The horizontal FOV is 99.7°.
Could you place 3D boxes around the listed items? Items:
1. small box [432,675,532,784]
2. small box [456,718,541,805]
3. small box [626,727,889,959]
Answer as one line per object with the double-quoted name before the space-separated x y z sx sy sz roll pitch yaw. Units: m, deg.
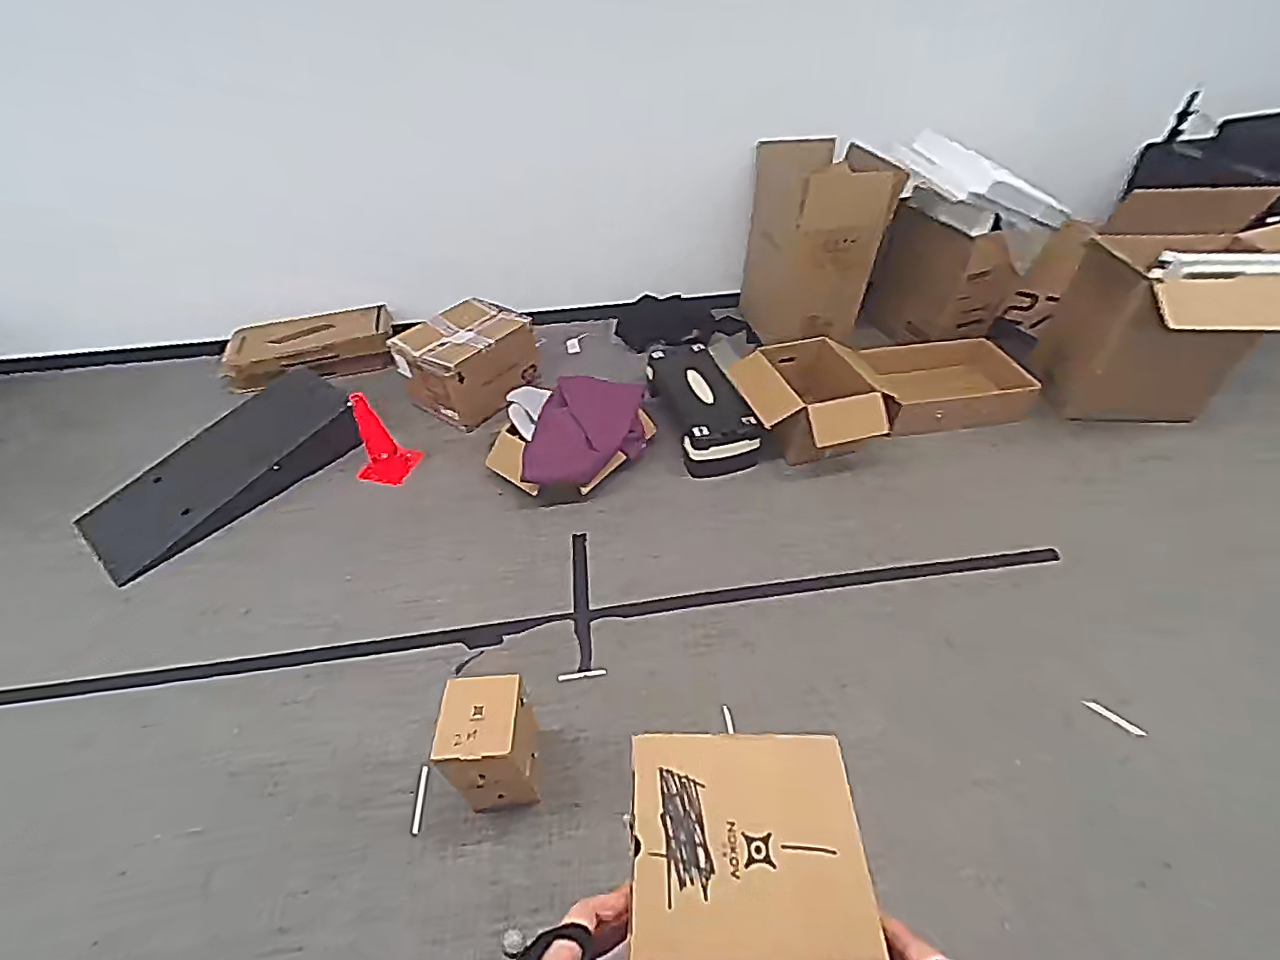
"small box" -0.344 0.561 1.216 0.168 0.176 0.179 -3 45 0
"small box" -0.340 0.681 1.330 0.168 0.176 0.179 -7 46 -4
"small box" 0.081 0.329 0.463 0.179 0.176 0.168 0 45 1
